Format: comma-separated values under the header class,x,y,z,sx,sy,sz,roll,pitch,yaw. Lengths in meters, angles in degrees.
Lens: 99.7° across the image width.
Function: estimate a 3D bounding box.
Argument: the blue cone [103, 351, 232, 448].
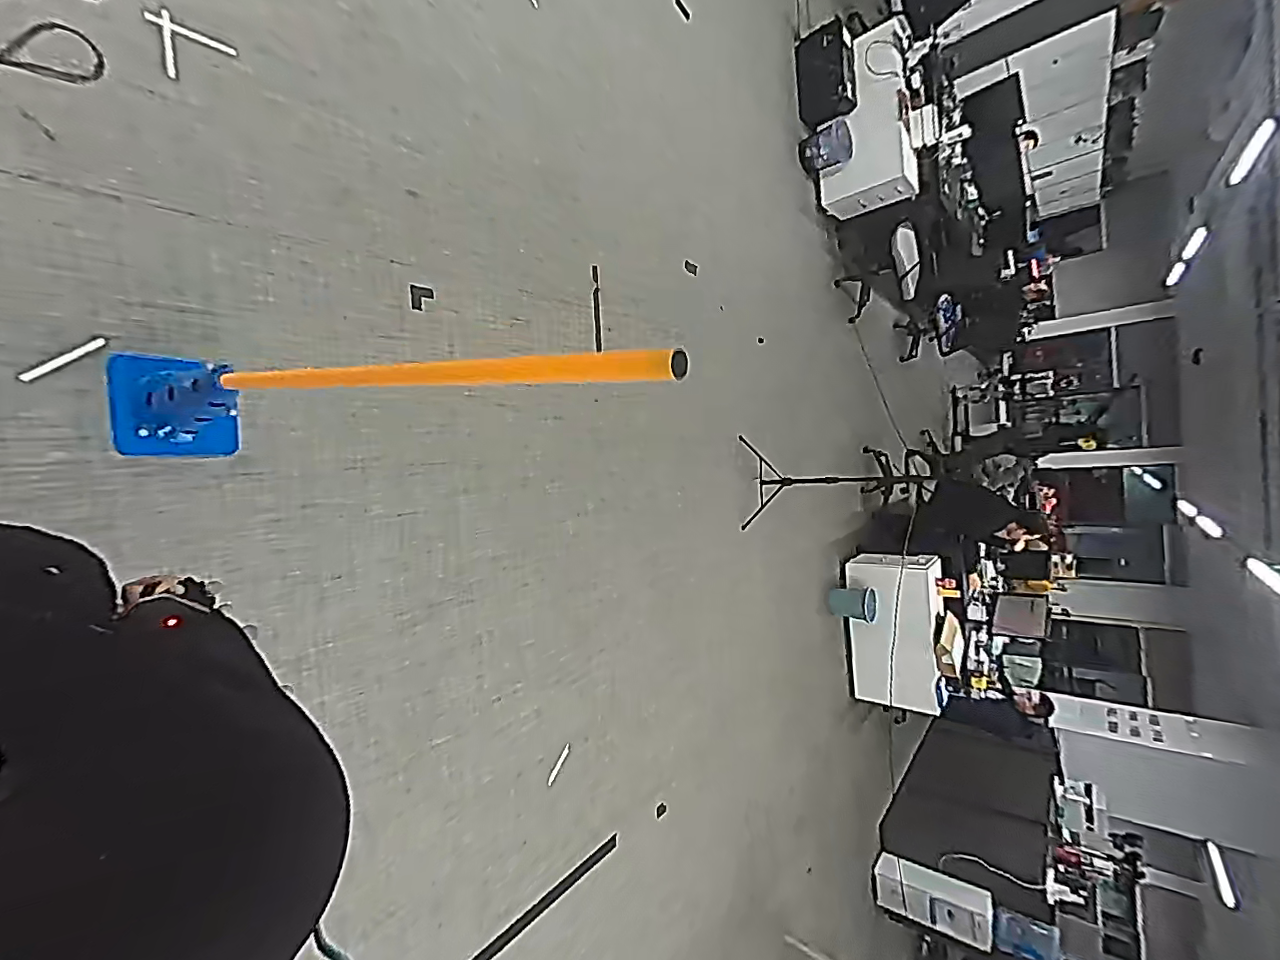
class,x,y,z,sx,sy,sz,roll,pitch,yaw
blue cone,-0.820,-0.167,0.988,0.193,0.380,0.192,-1,88,-51
